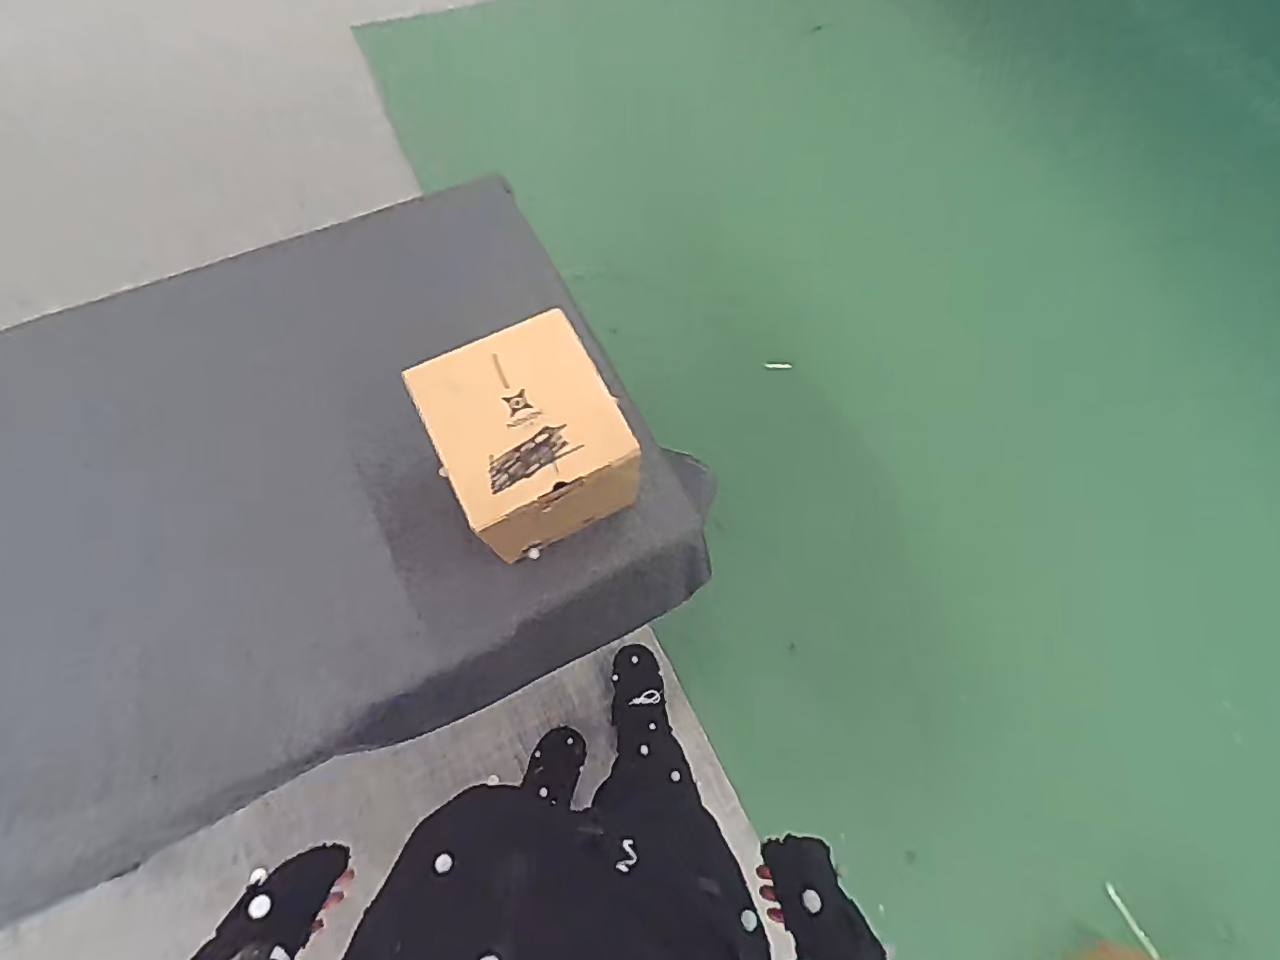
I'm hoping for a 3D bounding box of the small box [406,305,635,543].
[{"bbox_3d":[-0.116,-0.045,0.583,0.168,0.176,0.179,-26,74,-11],"label":"small box"}]
